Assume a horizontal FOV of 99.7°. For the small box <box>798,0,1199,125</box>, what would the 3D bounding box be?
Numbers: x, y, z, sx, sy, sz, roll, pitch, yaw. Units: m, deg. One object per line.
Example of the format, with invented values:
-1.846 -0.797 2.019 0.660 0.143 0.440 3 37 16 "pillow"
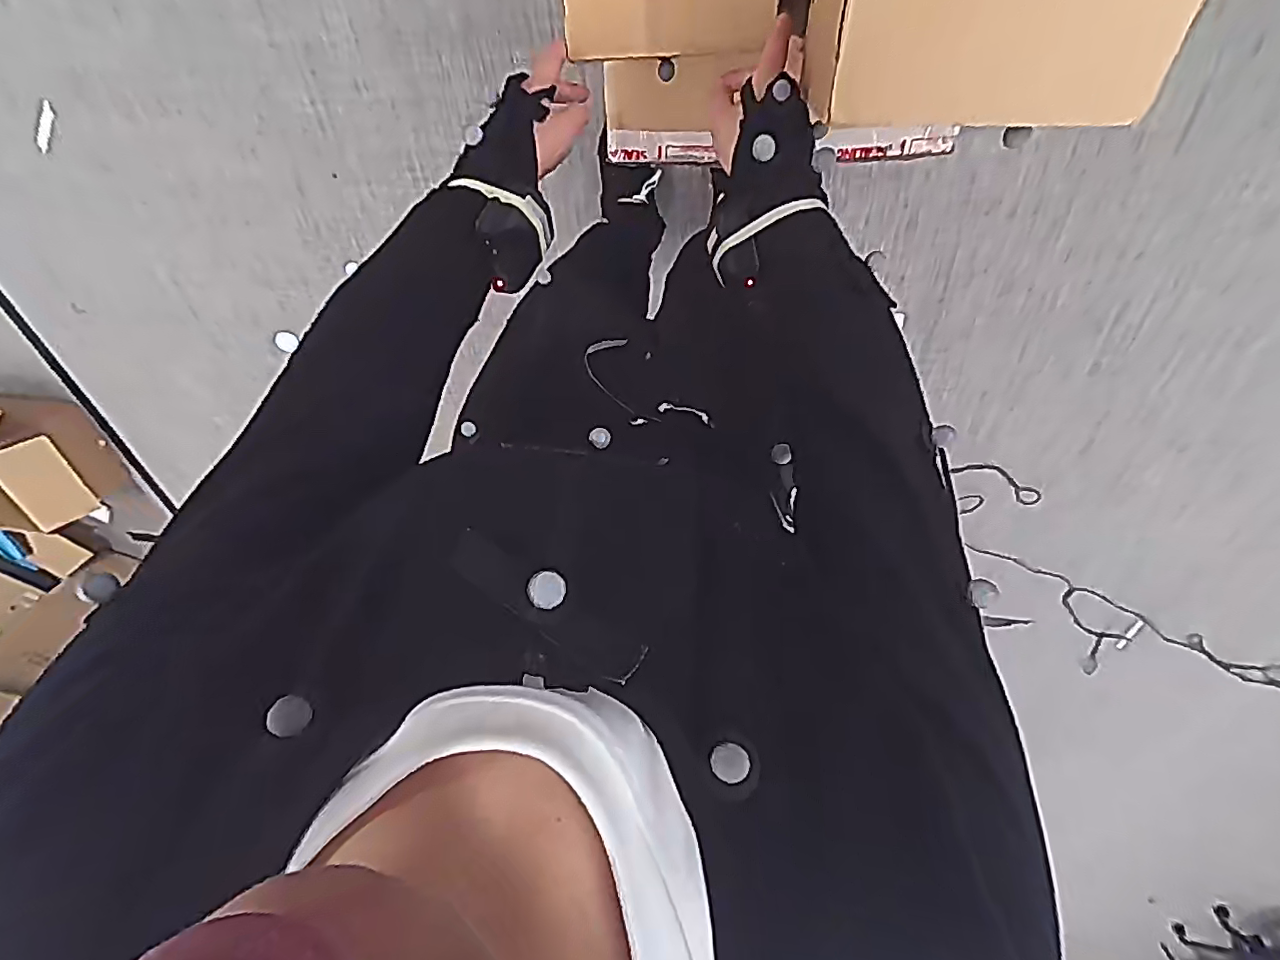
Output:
0.201 -0.320 0.316 0.179 0.176 0.168 4 132 6 "small box"
